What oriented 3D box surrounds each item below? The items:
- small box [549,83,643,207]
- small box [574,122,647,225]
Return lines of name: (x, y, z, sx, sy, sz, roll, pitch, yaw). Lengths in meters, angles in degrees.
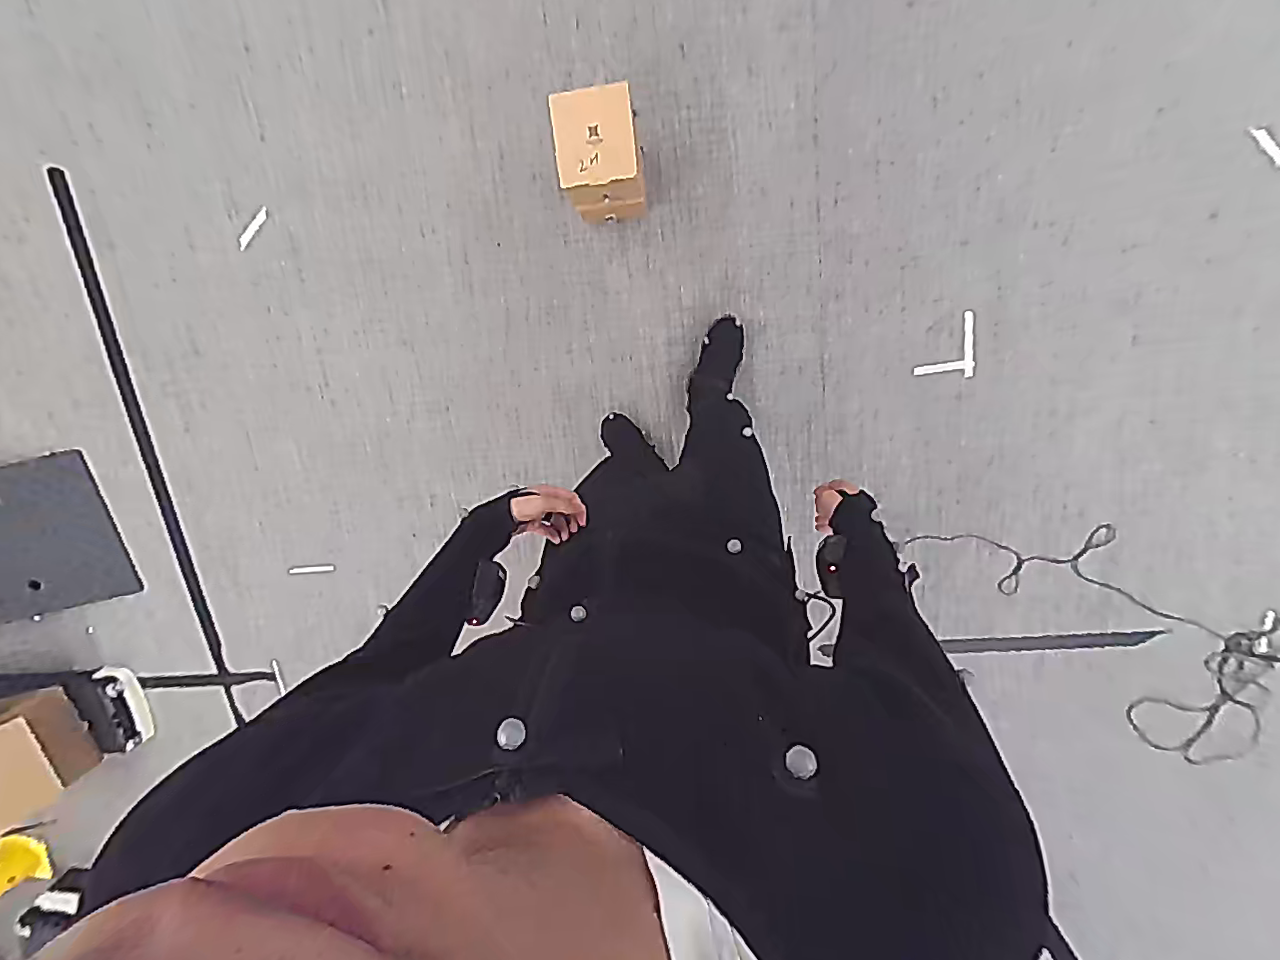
small box: (-0.087, -0.709, 1.163, 0.168, 0.176, 0.179, -5, 105, 6)
small box: (-0.075, -0.743, 1.323, 0.168, 0.176, 0.179, -5, 104, 6)
